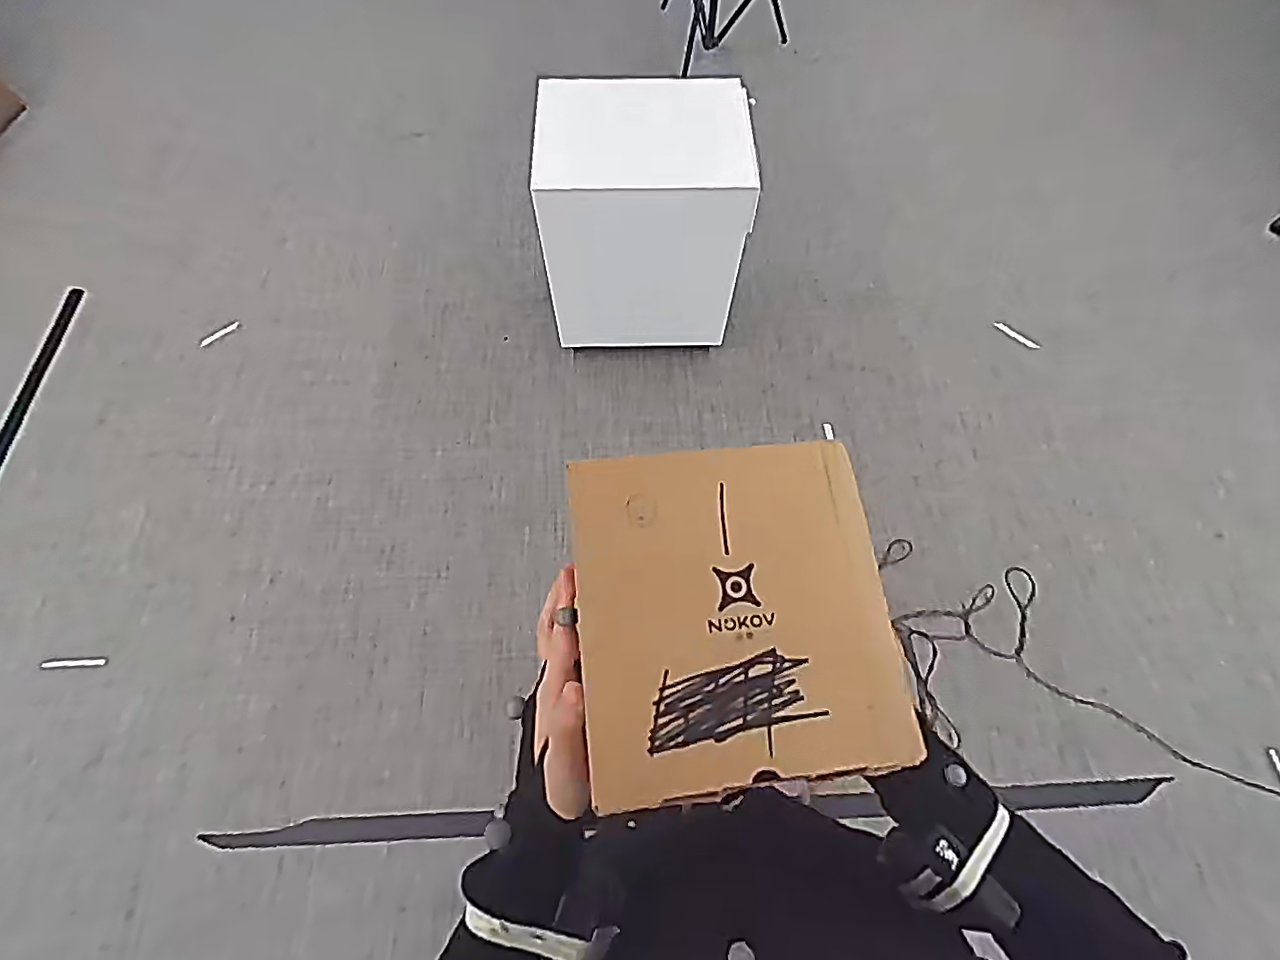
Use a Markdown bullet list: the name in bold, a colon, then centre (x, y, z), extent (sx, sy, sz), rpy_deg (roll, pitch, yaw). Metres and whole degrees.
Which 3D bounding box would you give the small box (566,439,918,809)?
- **small box**: centre (0.042, 0.088, 0.359), extent (0.168, 0.176, 0.179), rpy_deg (-5, 72, -8)
